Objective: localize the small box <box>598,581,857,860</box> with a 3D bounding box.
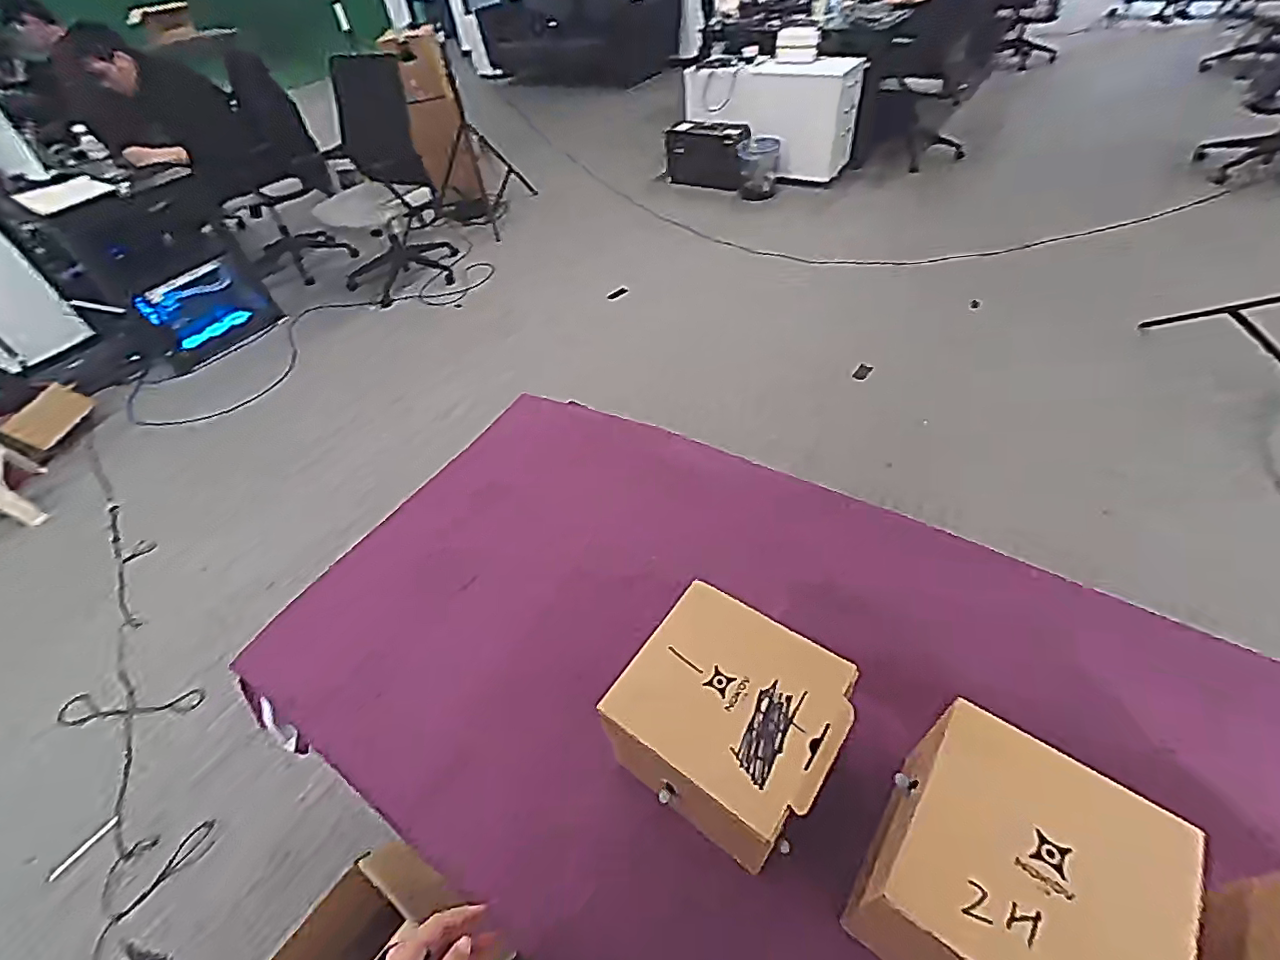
[{"bbox_3d":[0.087,0.240,0.540,0.179,0.176,0.168,26,55,30],"label":"small box"}]
